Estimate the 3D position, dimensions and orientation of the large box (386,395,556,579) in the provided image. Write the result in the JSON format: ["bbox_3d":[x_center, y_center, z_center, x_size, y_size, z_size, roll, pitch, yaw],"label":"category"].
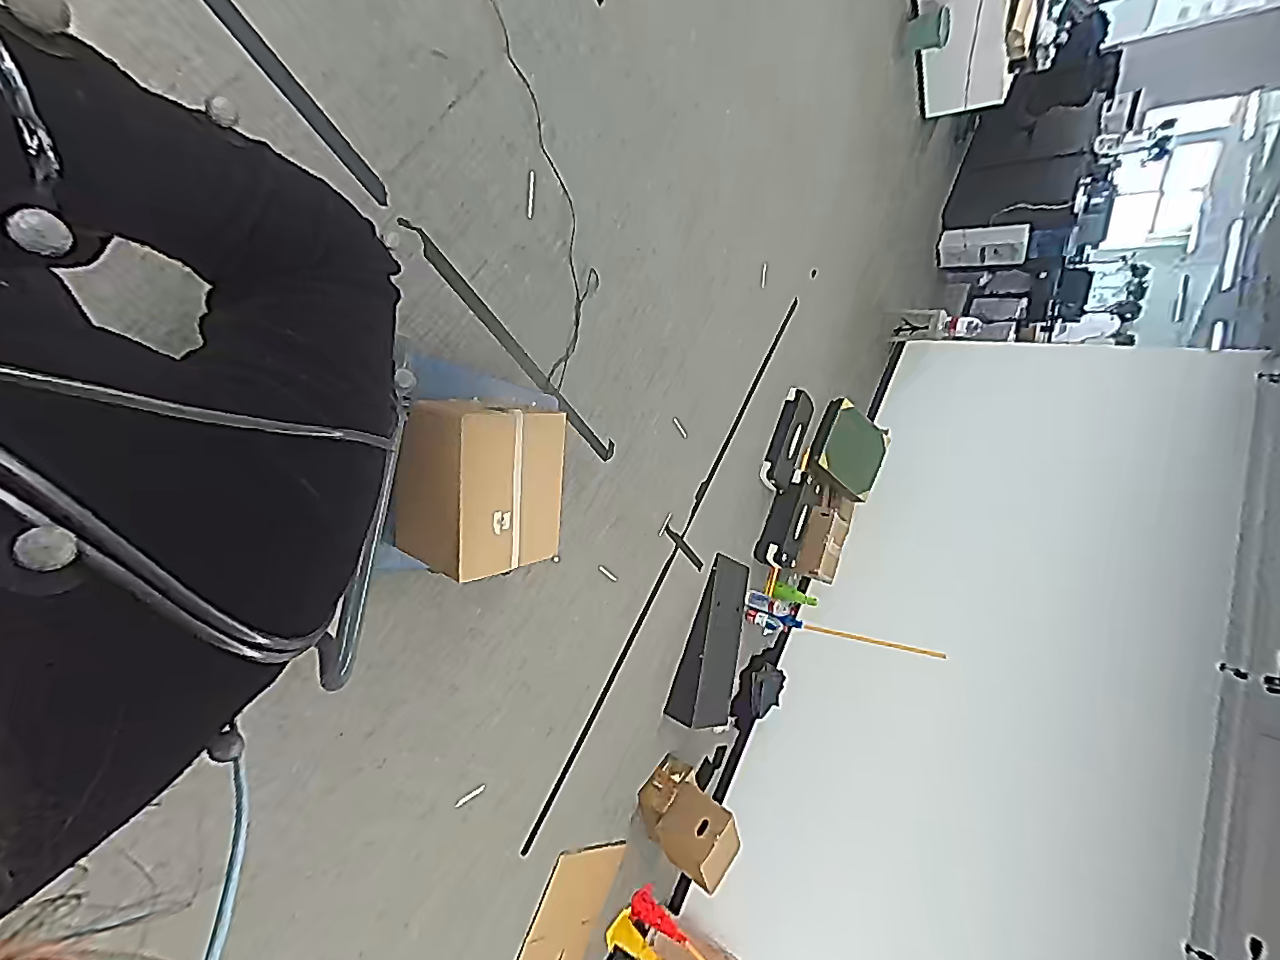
[{"bbox_3d":[-0.447,-0.008,1.423,0.320,0.320,0.408,-9,109,-50],"label":"large box"}]
